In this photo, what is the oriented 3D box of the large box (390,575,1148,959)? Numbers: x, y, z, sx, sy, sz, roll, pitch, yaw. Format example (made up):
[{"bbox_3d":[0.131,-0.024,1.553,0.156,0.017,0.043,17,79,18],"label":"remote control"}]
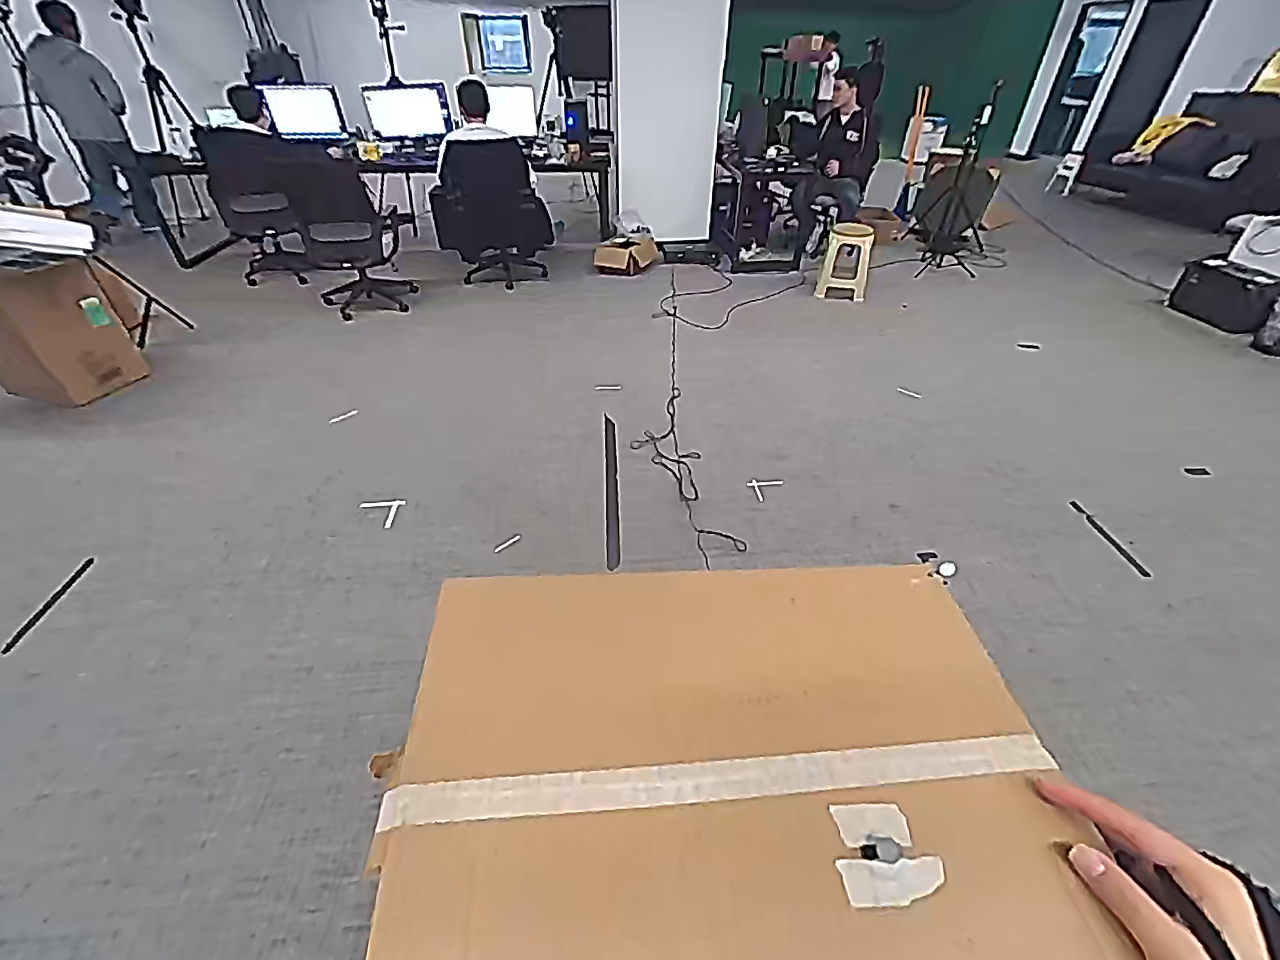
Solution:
[{"bbox_3d":[0.051,0.299,0.437,0.408,0.320,0.320,0,44,-8],"label":"large box"}]
